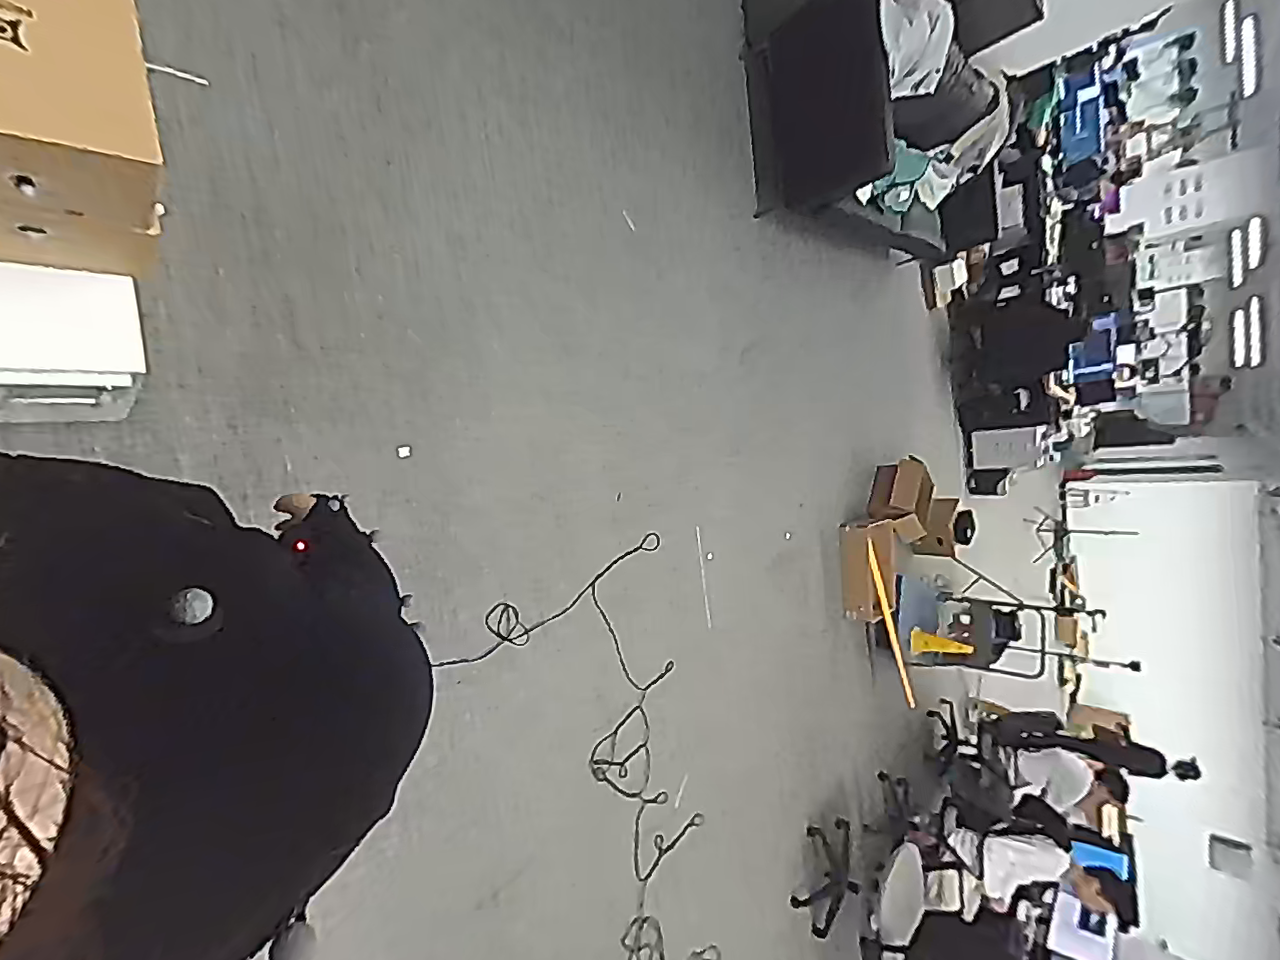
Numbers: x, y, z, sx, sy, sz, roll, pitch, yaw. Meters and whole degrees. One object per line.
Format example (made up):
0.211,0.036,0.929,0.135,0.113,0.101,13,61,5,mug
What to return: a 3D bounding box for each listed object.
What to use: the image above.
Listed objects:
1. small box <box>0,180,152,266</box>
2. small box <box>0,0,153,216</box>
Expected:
-0.663,-0.350,0.590,0.179,0.176,0.168,-9,95,-46,small box
-0.551,-0.357,0.471,0.168,0.176,0.179,-12,97,-45,small box
